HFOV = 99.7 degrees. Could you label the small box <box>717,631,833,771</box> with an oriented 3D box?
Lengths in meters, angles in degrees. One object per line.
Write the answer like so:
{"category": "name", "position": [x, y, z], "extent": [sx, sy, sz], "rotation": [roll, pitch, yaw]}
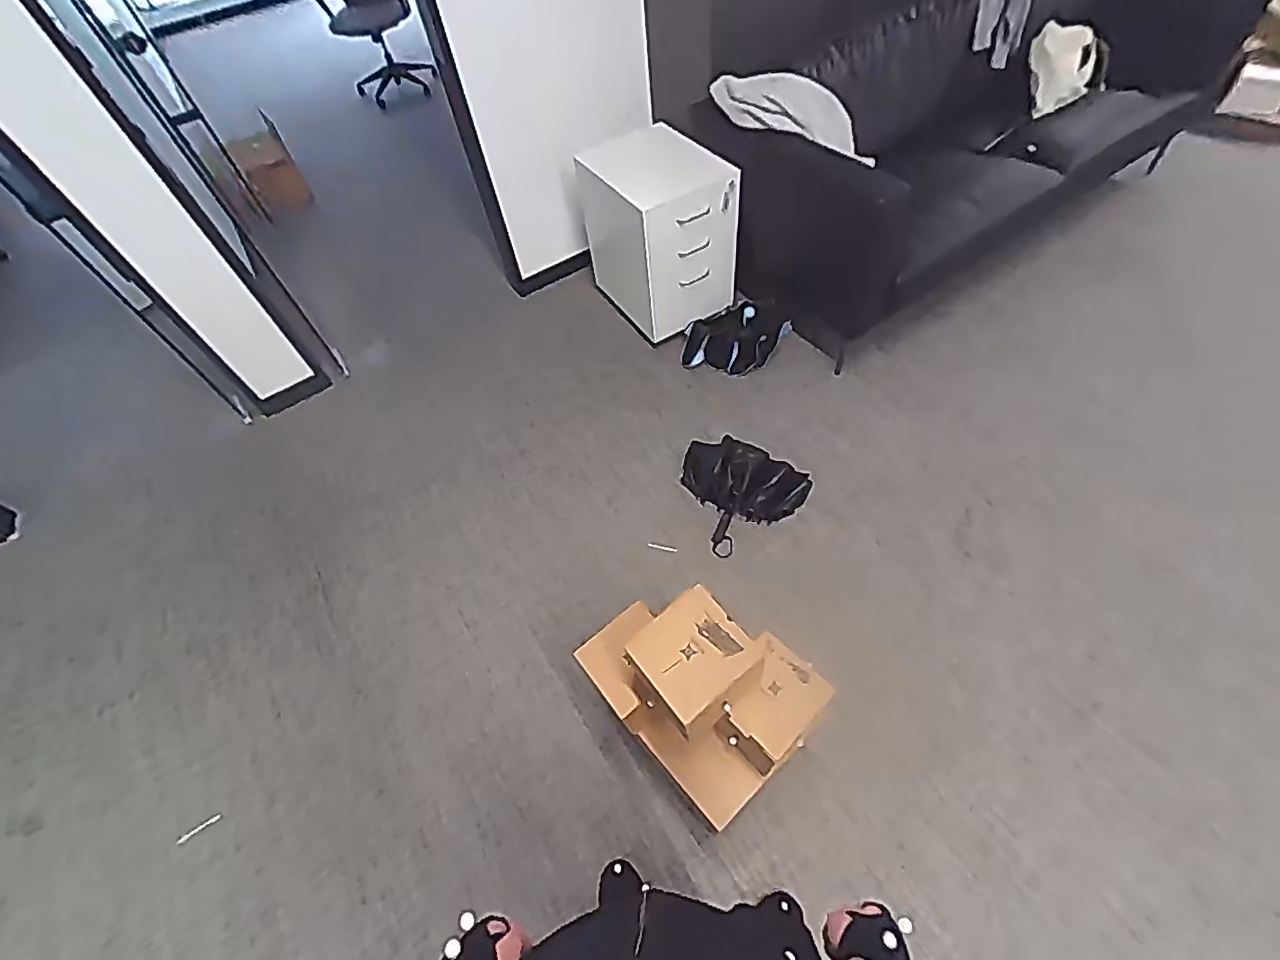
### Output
{"category": "small box", "position": [0.248, 0.438, 1.062], "extent": [0.179, 0.176, 0.168], "rotation": [-39, 59, -20]}

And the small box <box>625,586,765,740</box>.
{"category": "small box", "position": [0.097, 0.326, 0.958], "extent": [0.179, 0.176, 0.168], "rotation": [-36, 57, -15]}
